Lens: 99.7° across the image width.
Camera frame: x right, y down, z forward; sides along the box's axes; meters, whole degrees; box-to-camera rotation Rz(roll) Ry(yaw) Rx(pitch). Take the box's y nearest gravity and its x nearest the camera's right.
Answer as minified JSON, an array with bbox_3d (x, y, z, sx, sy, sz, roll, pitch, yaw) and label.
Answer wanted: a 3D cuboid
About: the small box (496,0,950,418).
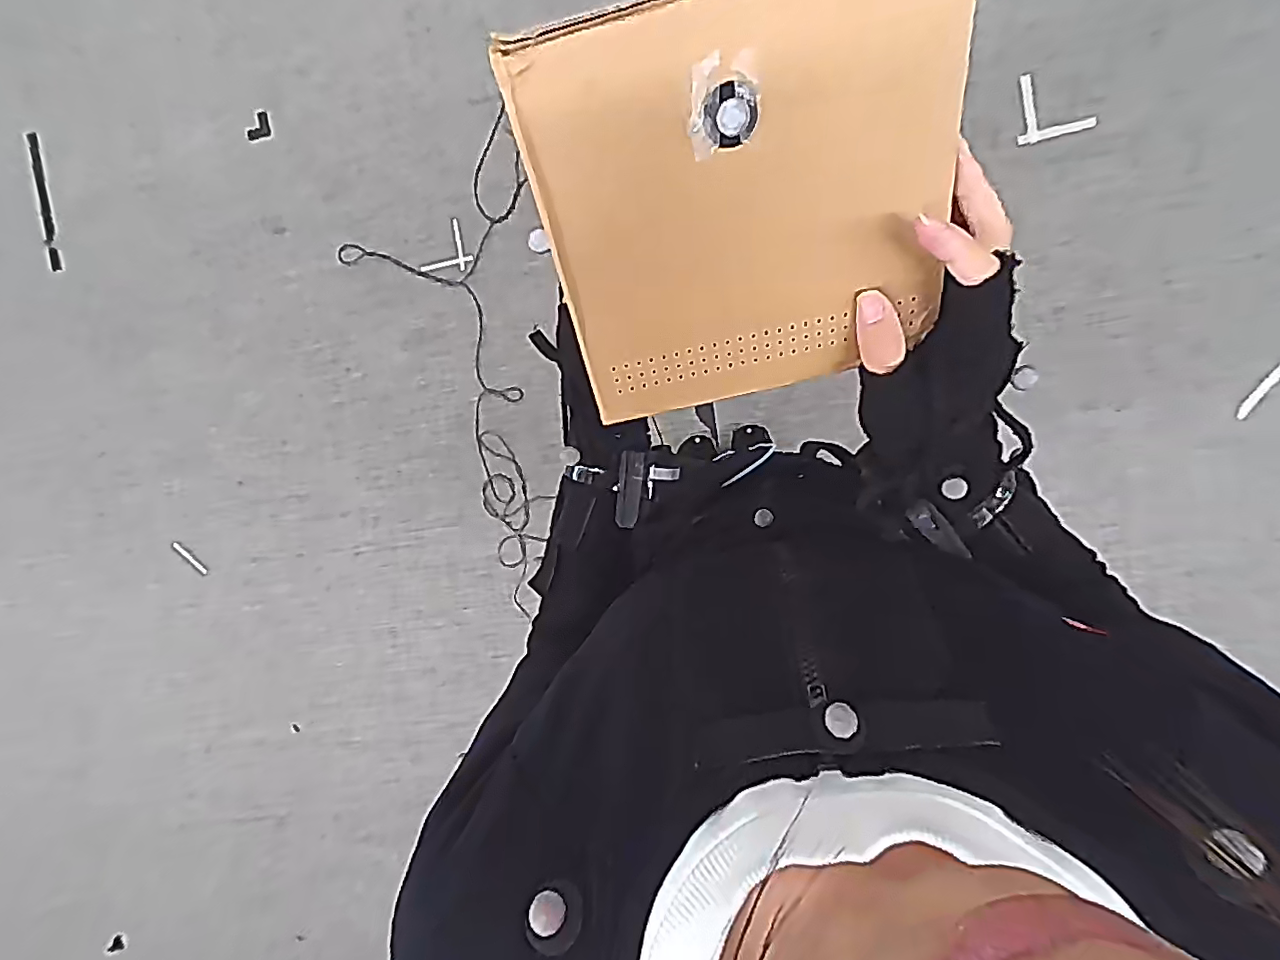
[{"bbox_3d":[0.045,-0.153,0.302,0.179,0.168,0.176,-12,127,5],"label":"small box"}]
